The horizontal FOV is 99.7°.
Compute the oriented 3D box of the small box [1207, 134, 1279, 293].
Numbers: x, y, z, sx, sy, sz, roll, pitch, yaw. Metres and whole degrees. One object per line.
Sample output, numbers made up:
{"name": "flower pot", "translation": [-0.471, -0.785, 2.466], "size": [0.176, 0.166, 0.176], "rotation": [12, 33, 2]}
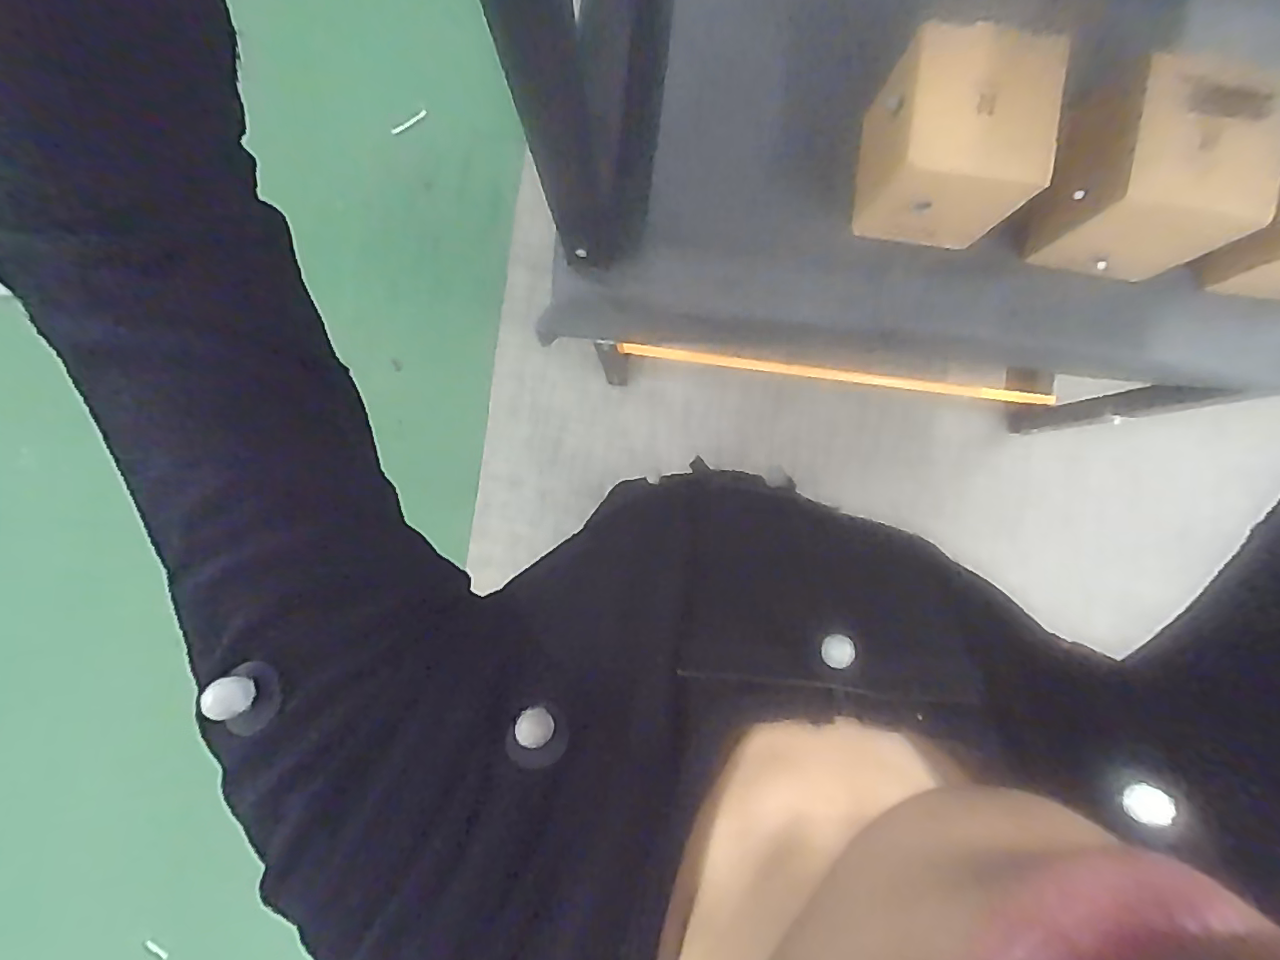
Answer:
{"name": "small box", "translation": [0.882, -0.347, 0.682], "size": [0.168, 0.176, 0.179], "rotation": [7, 87, 1]}

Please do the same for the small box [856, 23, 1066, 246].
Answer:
{"name": "small box", "translation": [0.396, -0.427, 0.697], "size": [0.168, 0.176, 0.179], "rotation": [8, 88, 1]}
